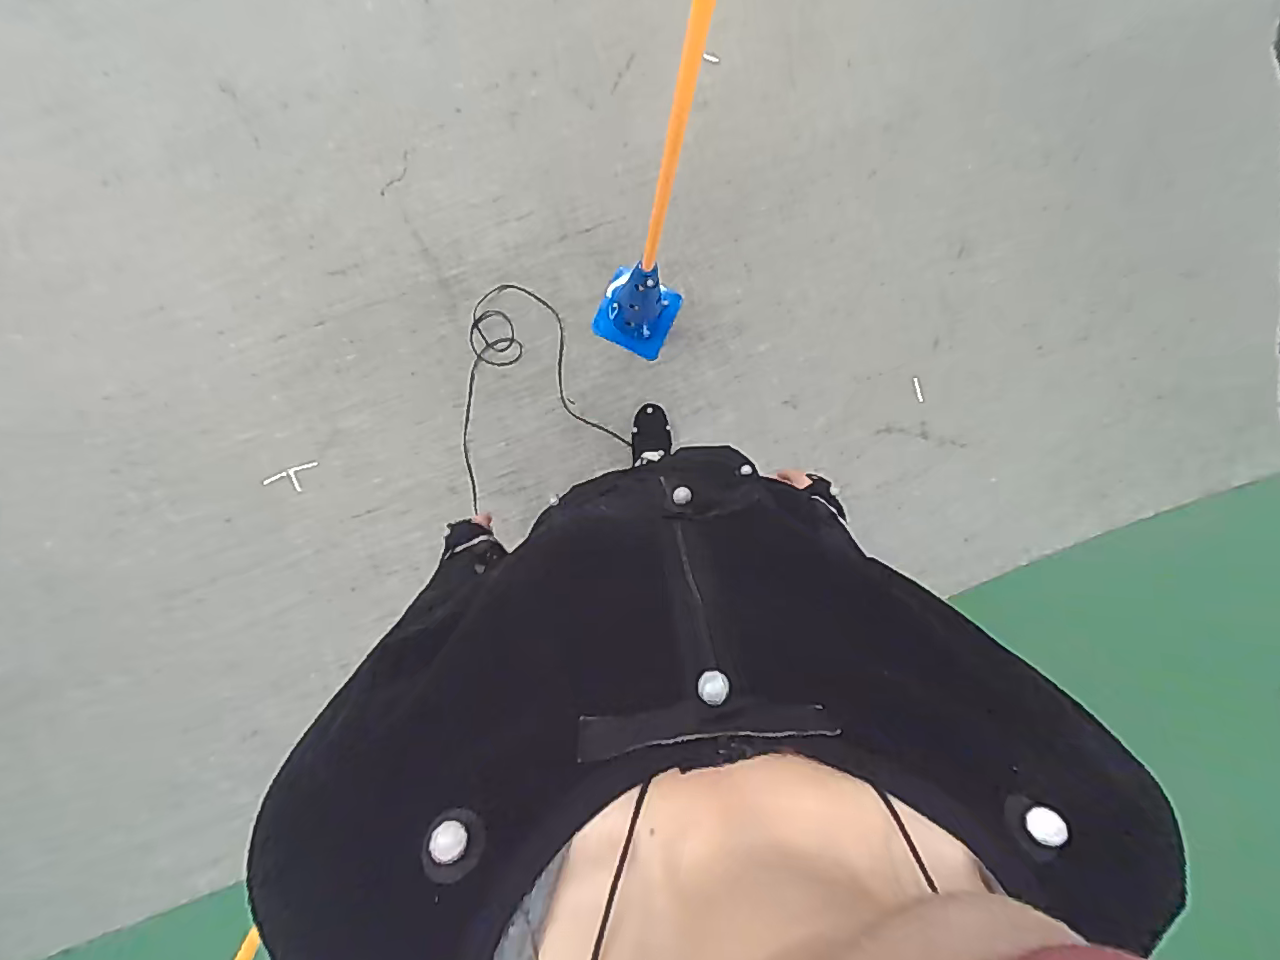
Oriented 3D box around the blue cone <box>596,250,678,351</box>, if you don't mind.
[{"bbox_3d":[0.004,-0.458,1.285,0.192,0.380,0.193,24,89,-5],"label":"blue cone"}]
